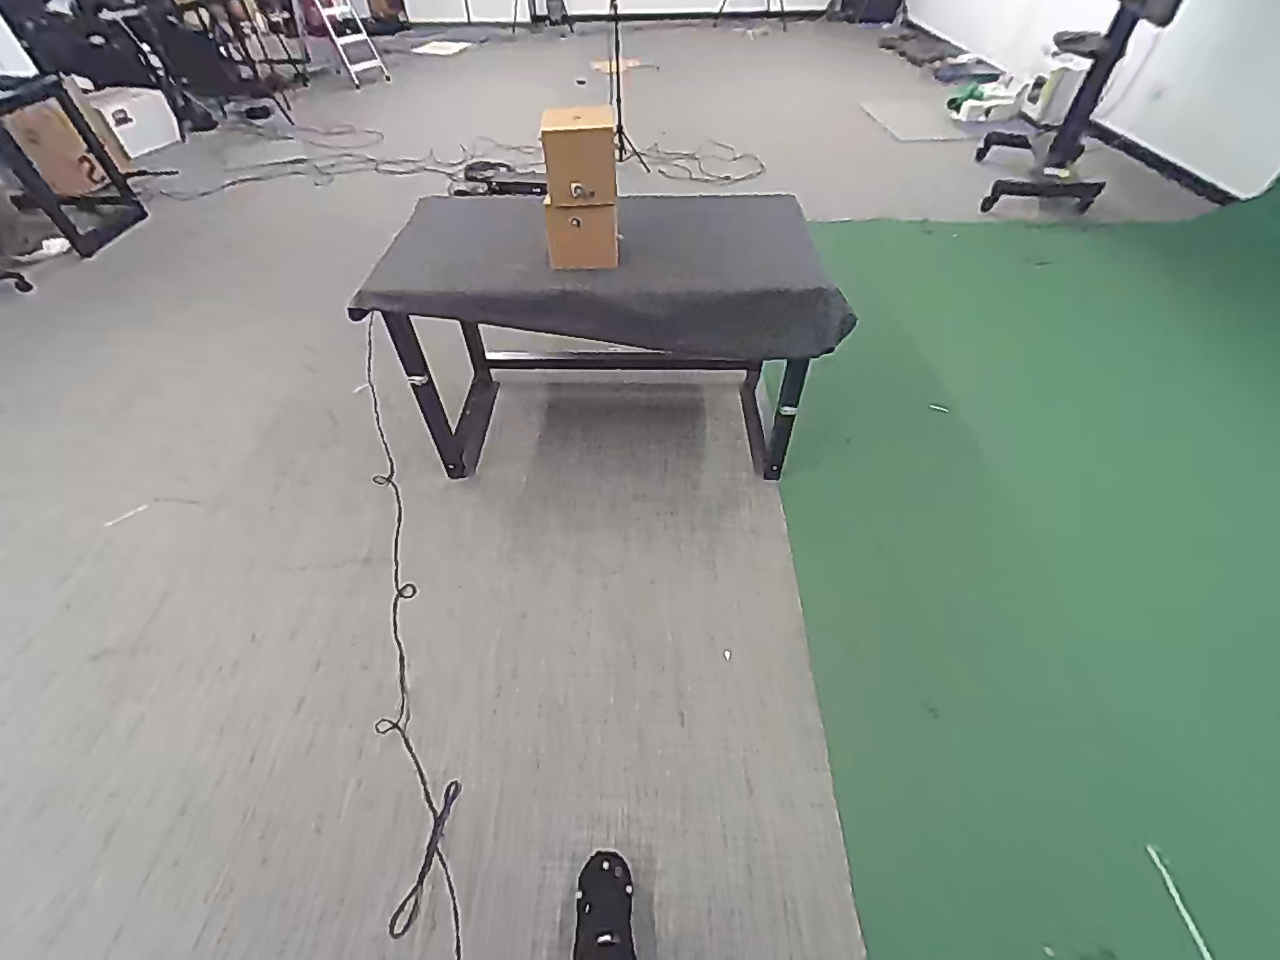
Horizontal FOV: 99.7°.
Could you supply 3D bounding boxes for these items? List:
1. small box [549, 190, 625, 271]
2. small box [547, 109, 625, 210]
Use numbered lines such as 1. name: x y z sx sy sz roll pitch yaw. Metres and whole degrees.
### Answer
1. small box: -0.133 -0.670 1.432 0.179 0.176 0.168 0 48 1
2. small box: -0.126 -0.775 1.309 0.168 0.176 0.179 -5 49 -1
